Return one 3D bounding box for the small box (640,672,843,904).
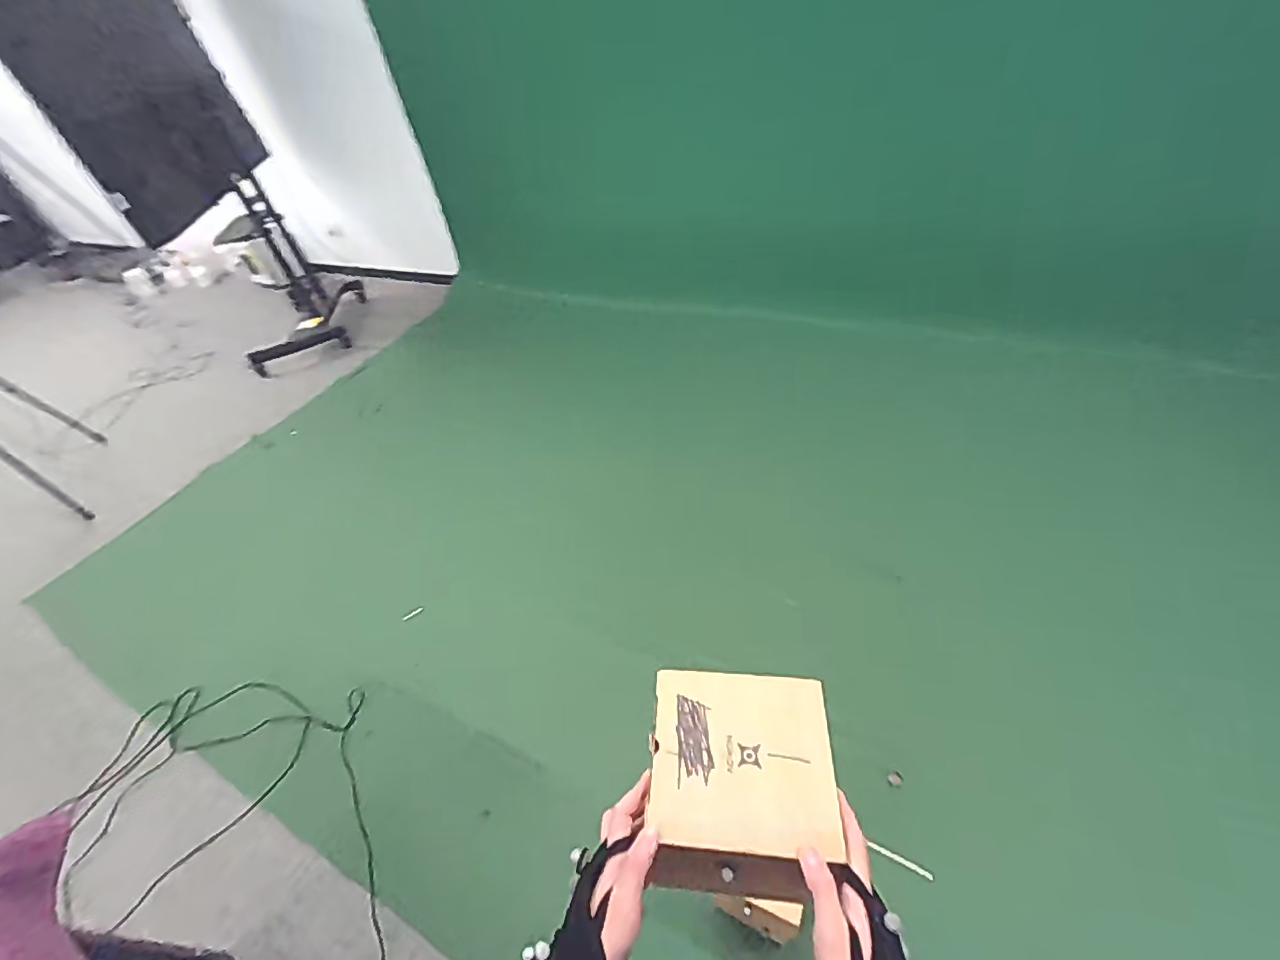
[{"bbox_3d":[0.099,0.326,0.574,0.179,0.176,0.168,2,42,6],"label":"small box"}]

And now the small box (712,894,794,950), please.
[{"bbox_3d":[0.279,0.931,1.235,0.179,0.176,0.168,14,49,25],"label":"small box"}]

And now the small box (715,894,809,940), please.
[{"bbox_3d":[0.263,0.815,1.123,0.179,0.176,0.168,11,48,24],"label":"small box"}]
